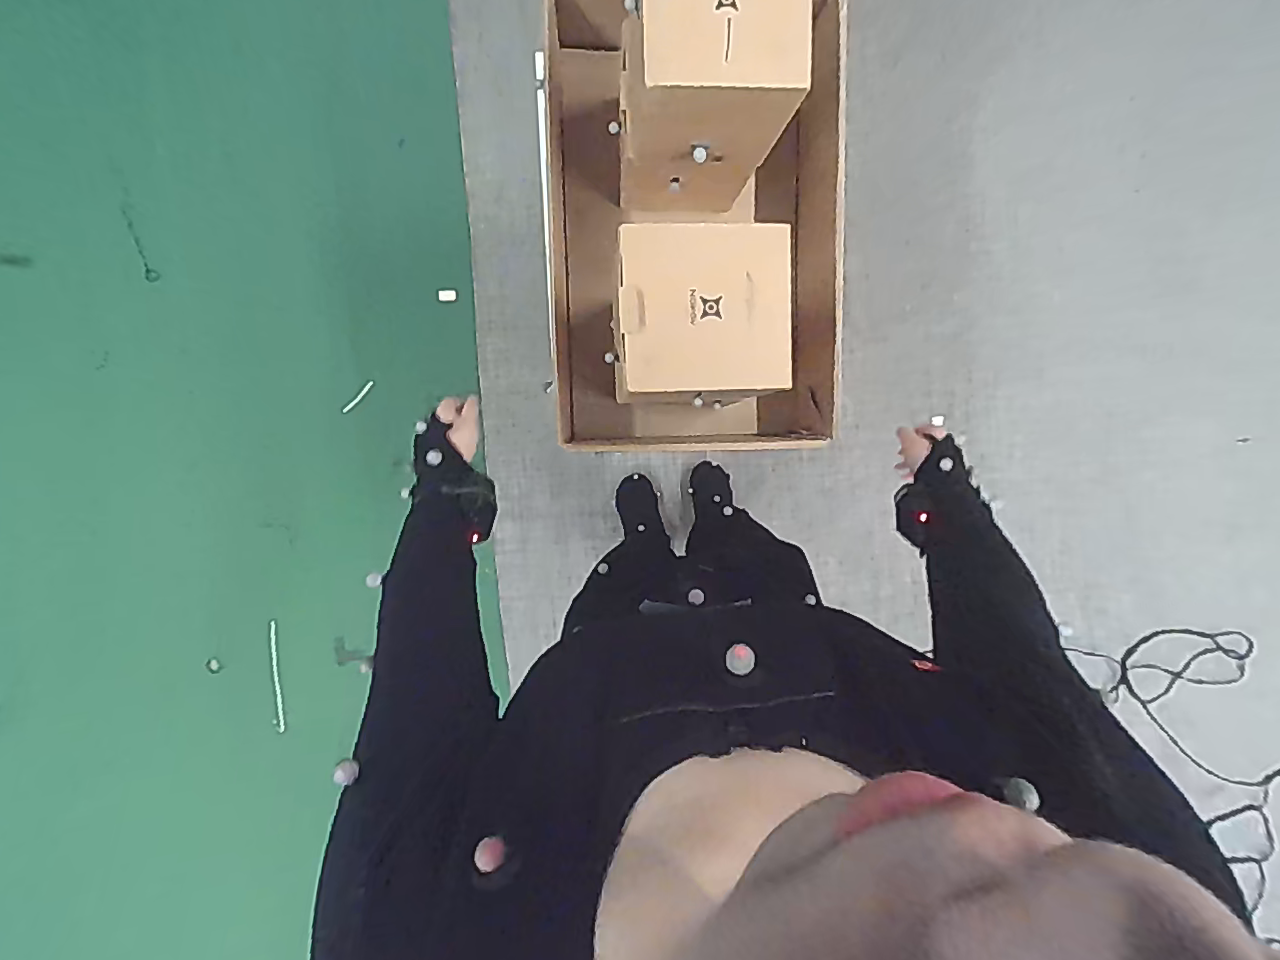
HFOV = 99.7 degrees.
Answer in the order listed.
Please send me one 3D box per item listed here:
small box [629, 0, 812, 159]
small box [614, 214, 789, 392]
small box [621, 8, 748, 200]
[{"bbox_3d":[0.077,-0.482,0.589,0.168,0.176,0.179,-2,98,-4],"label":"small box"},{"bbox_3d":[0.059,-0.191,0.625,0.179,0.176,0.168,-3,97,-6],"label":"small box"},{"bbox_3d":[0.062,-0.506,0.752,0.179,0.176,0.168,-1,98,-3],"label":"small box"}]
